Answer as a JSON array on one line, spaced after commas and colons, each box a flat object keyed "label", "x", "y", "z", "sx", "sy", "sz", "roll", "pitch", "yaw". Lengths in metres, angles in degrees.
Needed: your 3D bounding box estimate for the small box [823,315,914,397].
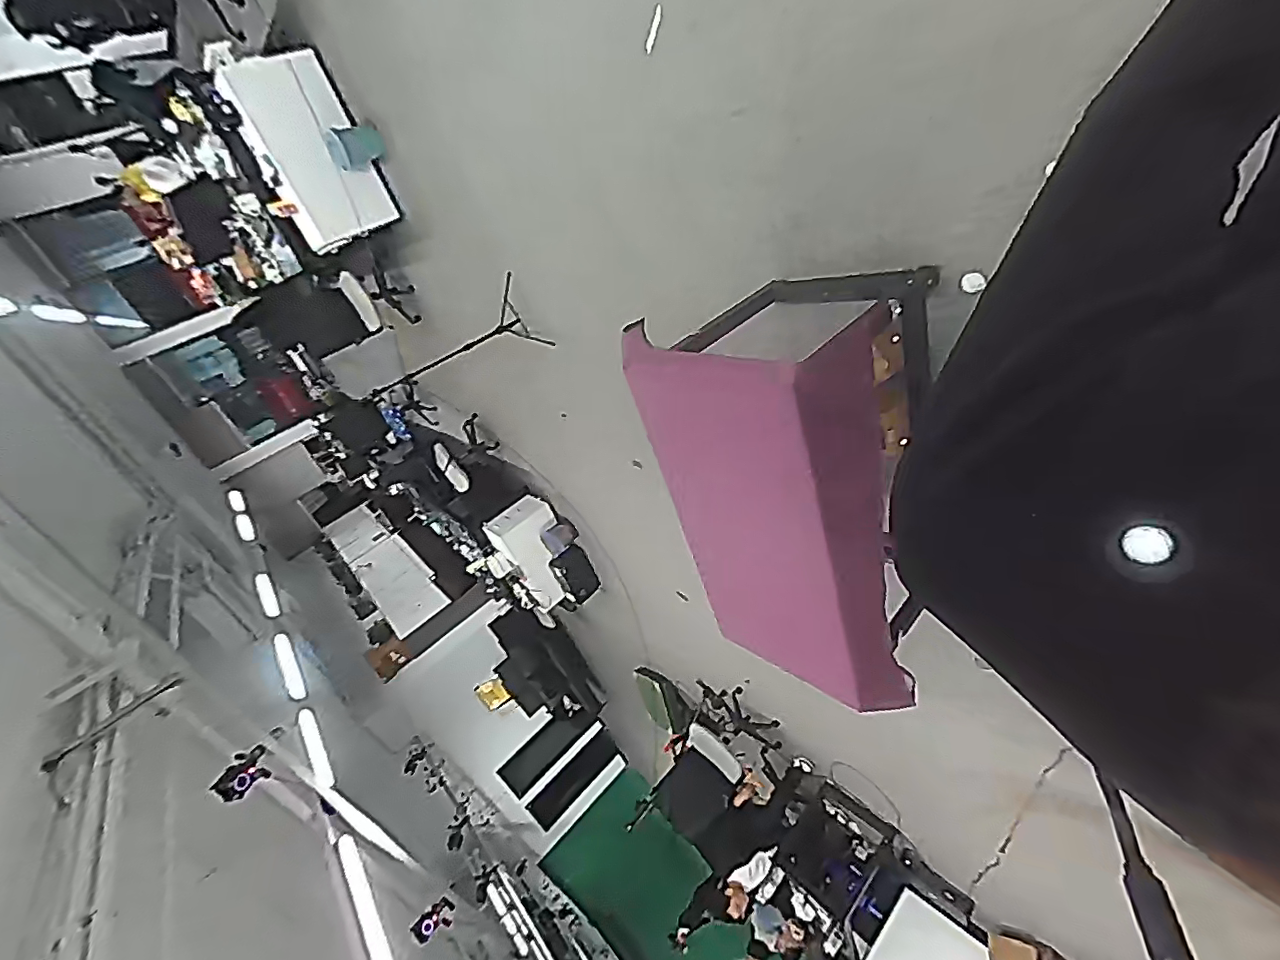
[{"label": "small box", "x": 0.738, "y": -0.399, "z": 1.745, "sx": 0.168, "sy": 0.176, "sz": 0.179, "roll": 54, "pitch": 154, "yaw": -5}]
